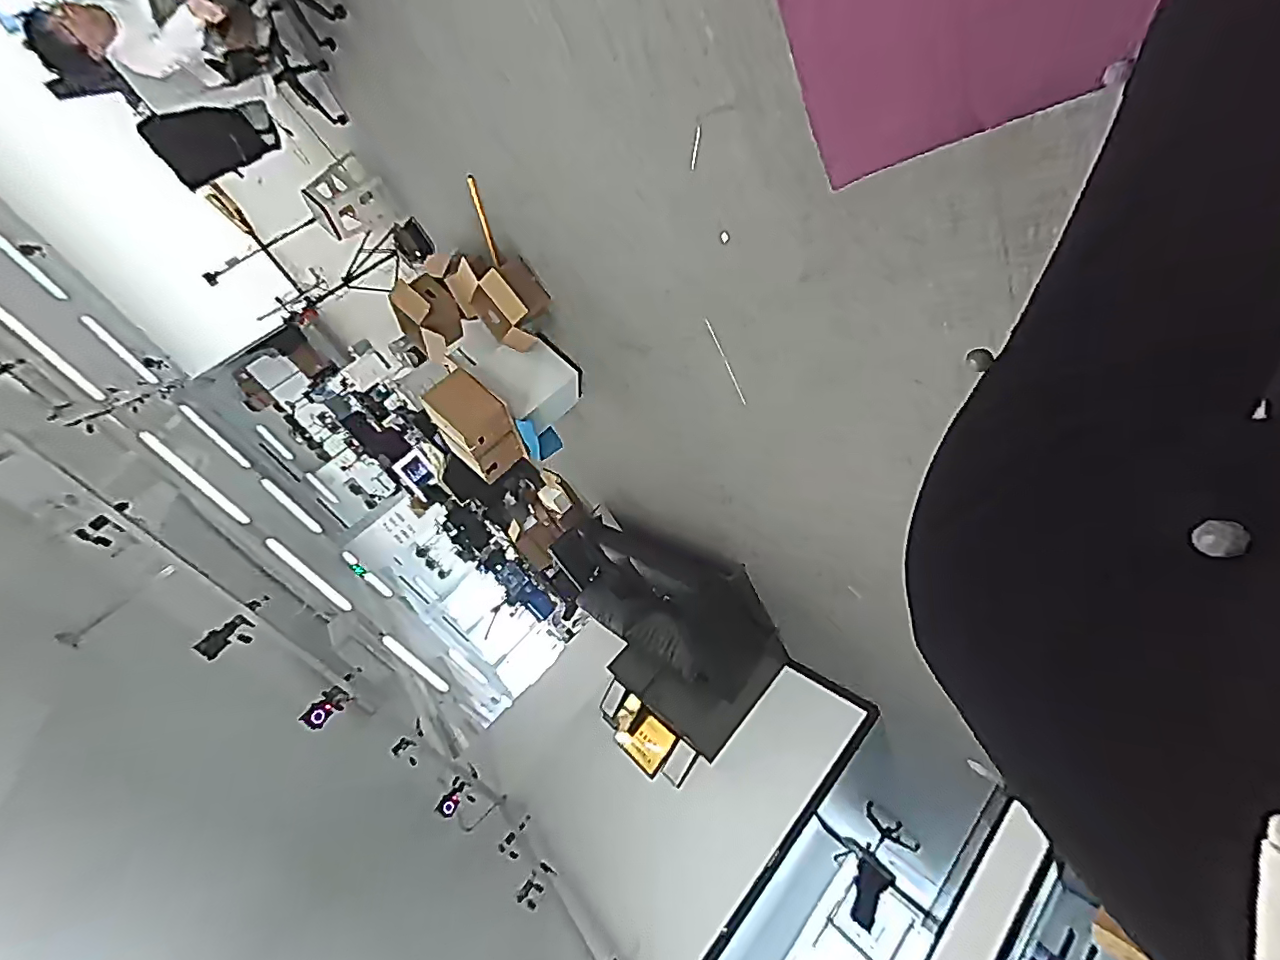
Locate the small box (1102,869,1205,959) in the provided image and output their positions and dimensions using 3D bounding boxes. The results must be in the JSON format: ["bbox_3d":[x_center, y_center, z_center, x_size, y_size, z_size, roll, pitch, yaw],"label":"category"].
[{"bbox_3d":[1.398,1.221,1.474,0.168,0.176,0.179,20,145,52],"label":"small box"}]
